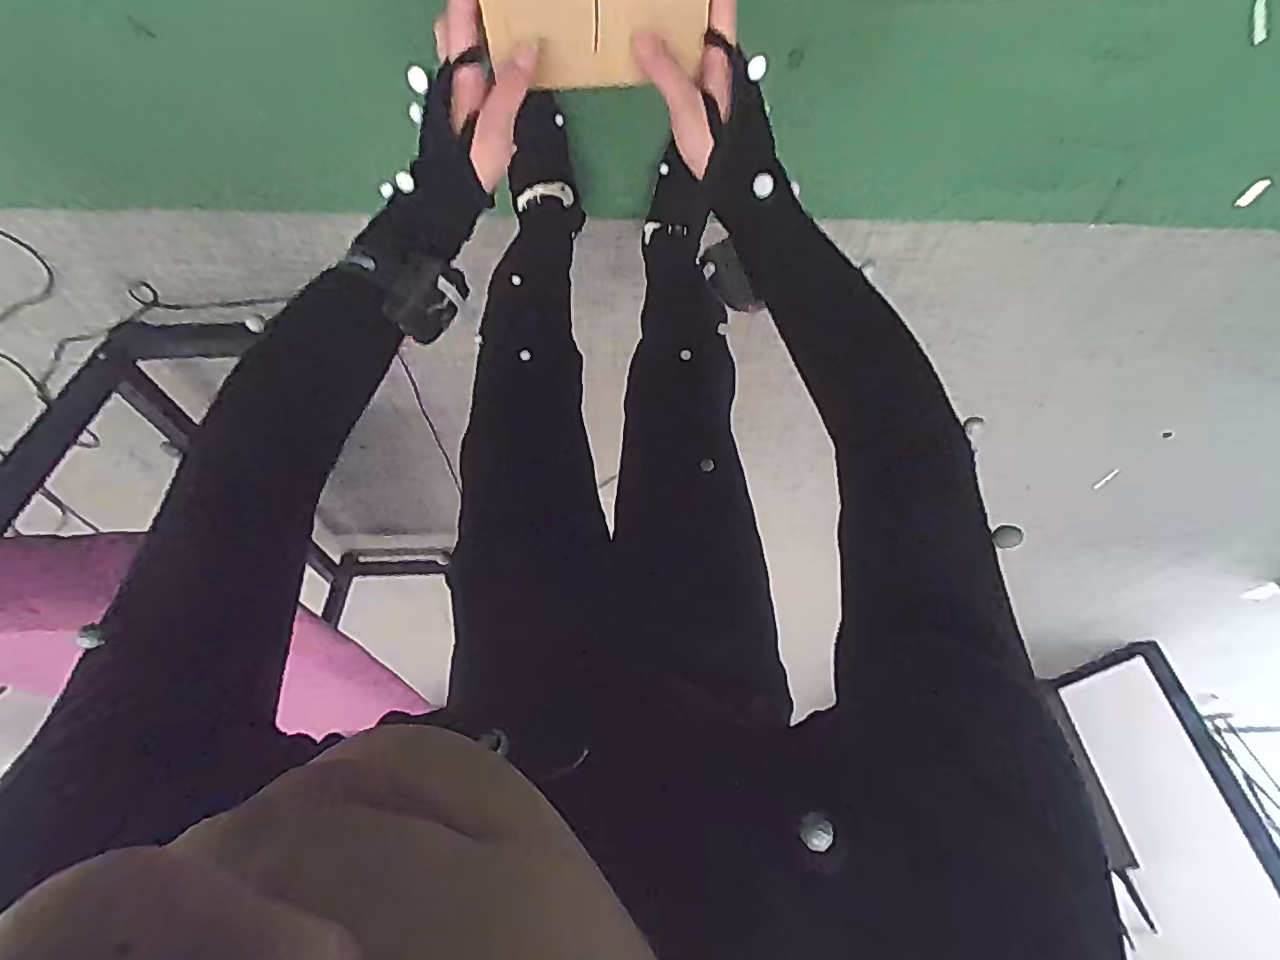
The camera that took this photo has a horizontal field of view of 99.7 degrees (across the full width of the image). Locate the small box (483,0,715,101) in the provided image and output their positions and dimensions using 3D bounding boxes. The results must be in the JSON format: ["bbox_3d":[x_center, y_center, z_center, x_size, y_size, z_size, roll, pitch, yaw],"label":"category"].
[{"bbox_3d":[-0.033,-0.414,0.404,0.168,0.176,0.179,-3,141,-1],"label":"small box"}]
